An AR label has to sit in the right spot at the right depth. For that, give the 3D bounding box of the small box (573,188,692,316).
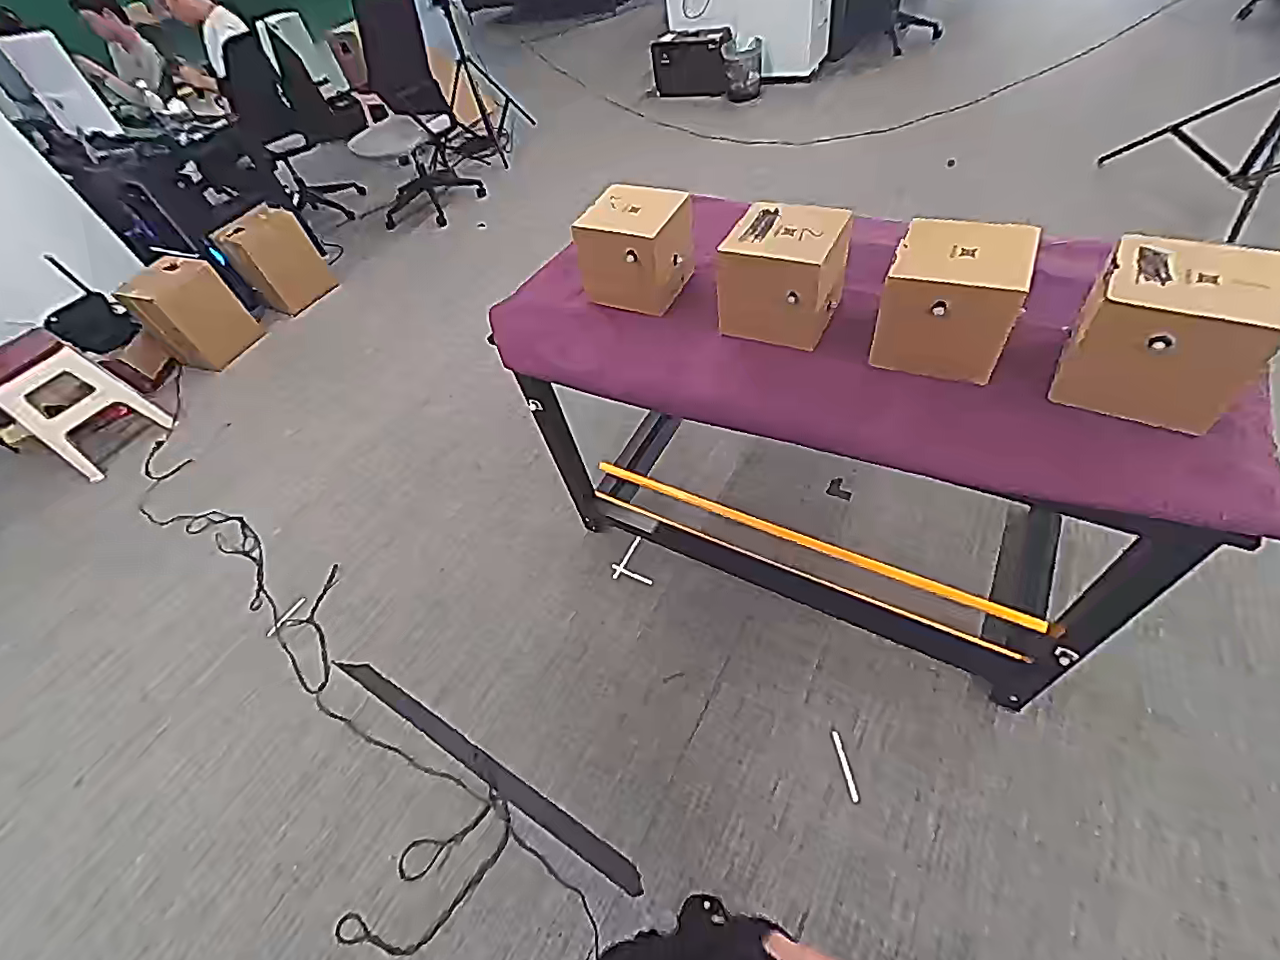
[{"bbox_3d":[-0.004,-0.453,1.082,0.179,0.176,0.168,19,58,22],"label":"small box"}]

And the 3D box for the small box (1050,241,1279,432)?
[{"bbox_3d":[0.688,-0.189,0.720,0.179,0.176,0.168,23,59,27],"label":"small box"}]

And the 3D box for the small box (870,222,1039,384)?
[{"bbox_3d":[0.477,-0.271,0.838,0.179,0.176,0.168,17,58,25],"label":"small box"}]
